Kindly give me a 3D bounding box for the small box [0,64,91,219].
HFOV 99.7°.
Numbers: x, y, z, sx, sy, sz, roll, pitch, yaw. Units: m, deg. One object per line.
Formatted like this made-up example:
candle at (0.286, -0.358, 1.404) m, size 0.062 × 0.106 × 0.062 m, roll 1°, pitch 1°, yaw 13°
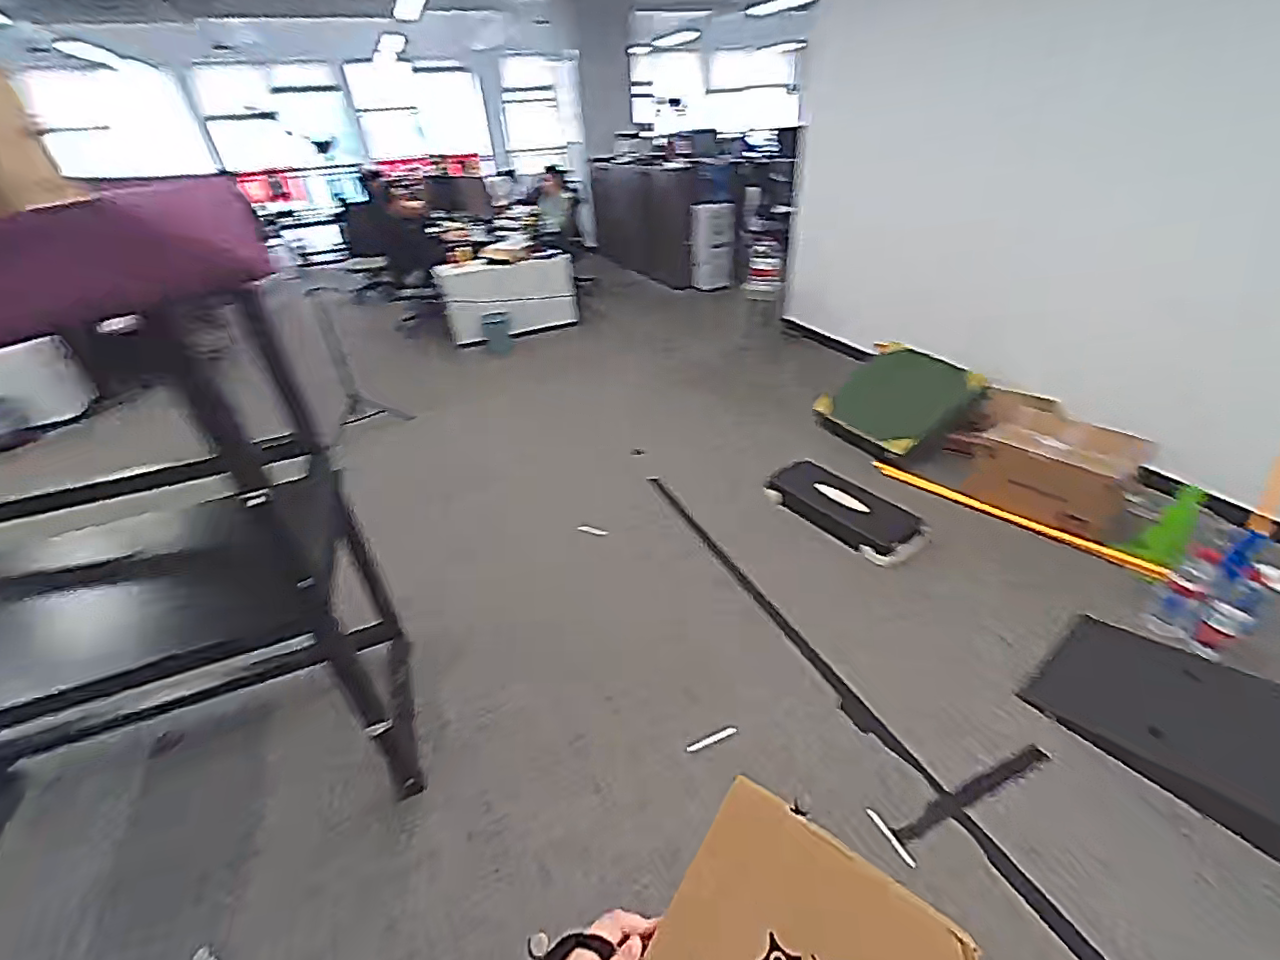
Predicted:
small box at (-0.874, -0.423, 0.684) m, size 0.179 × 0.176 × 0.168 m, roll -13°, pitch 33°, yaw -12°
